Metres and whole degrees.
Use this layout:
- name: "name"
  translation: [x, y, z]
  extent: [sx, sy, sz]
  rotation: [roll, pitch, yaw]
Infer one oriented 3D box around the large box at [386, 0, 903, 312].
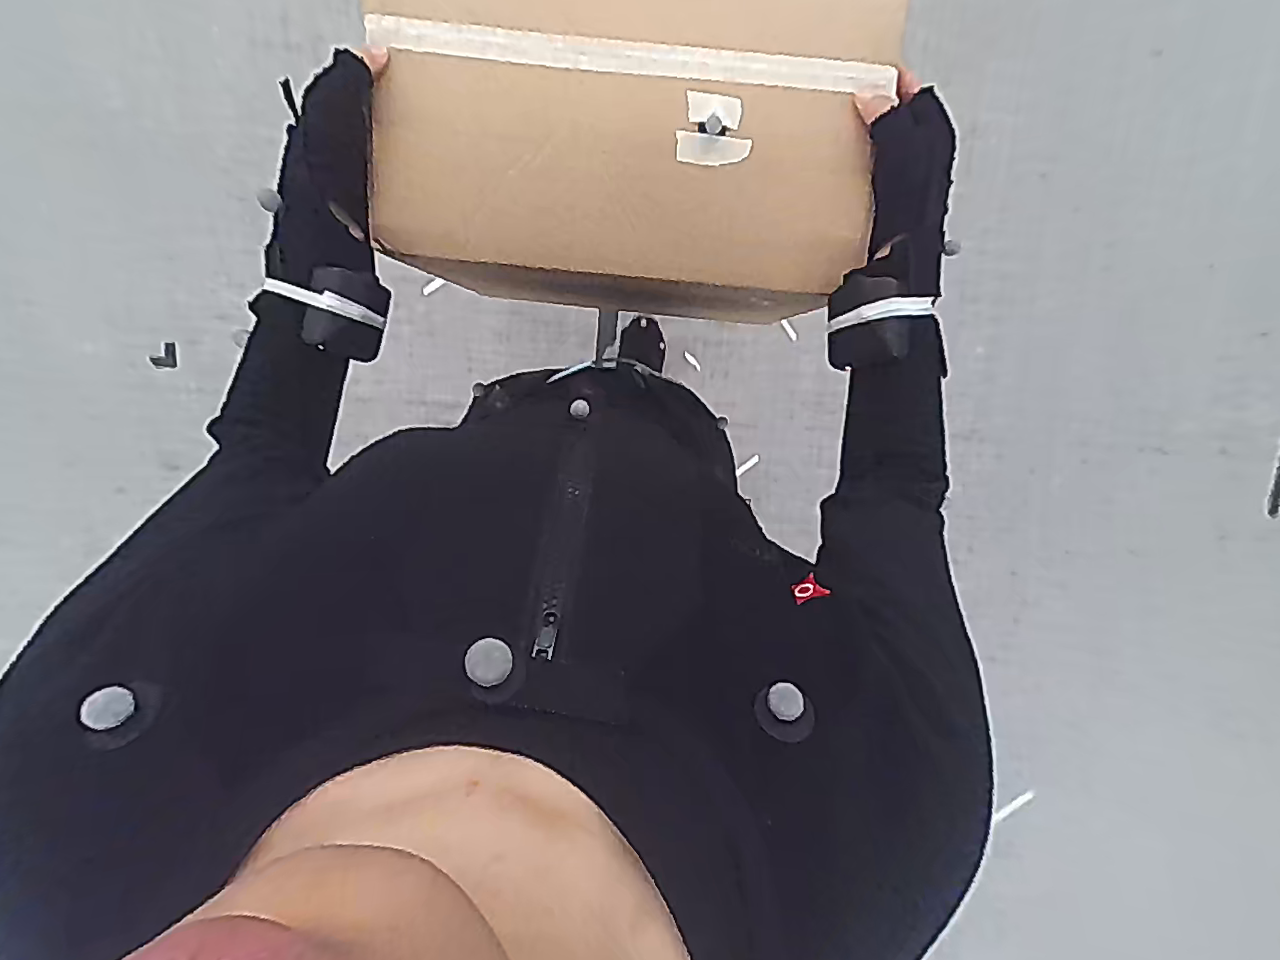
- name: "large box"
  translation: [-0.003, -0.364, 0.569]
  extent: [0.408, 0.320, 0.320]
  rotation: [5, 103, -2]
